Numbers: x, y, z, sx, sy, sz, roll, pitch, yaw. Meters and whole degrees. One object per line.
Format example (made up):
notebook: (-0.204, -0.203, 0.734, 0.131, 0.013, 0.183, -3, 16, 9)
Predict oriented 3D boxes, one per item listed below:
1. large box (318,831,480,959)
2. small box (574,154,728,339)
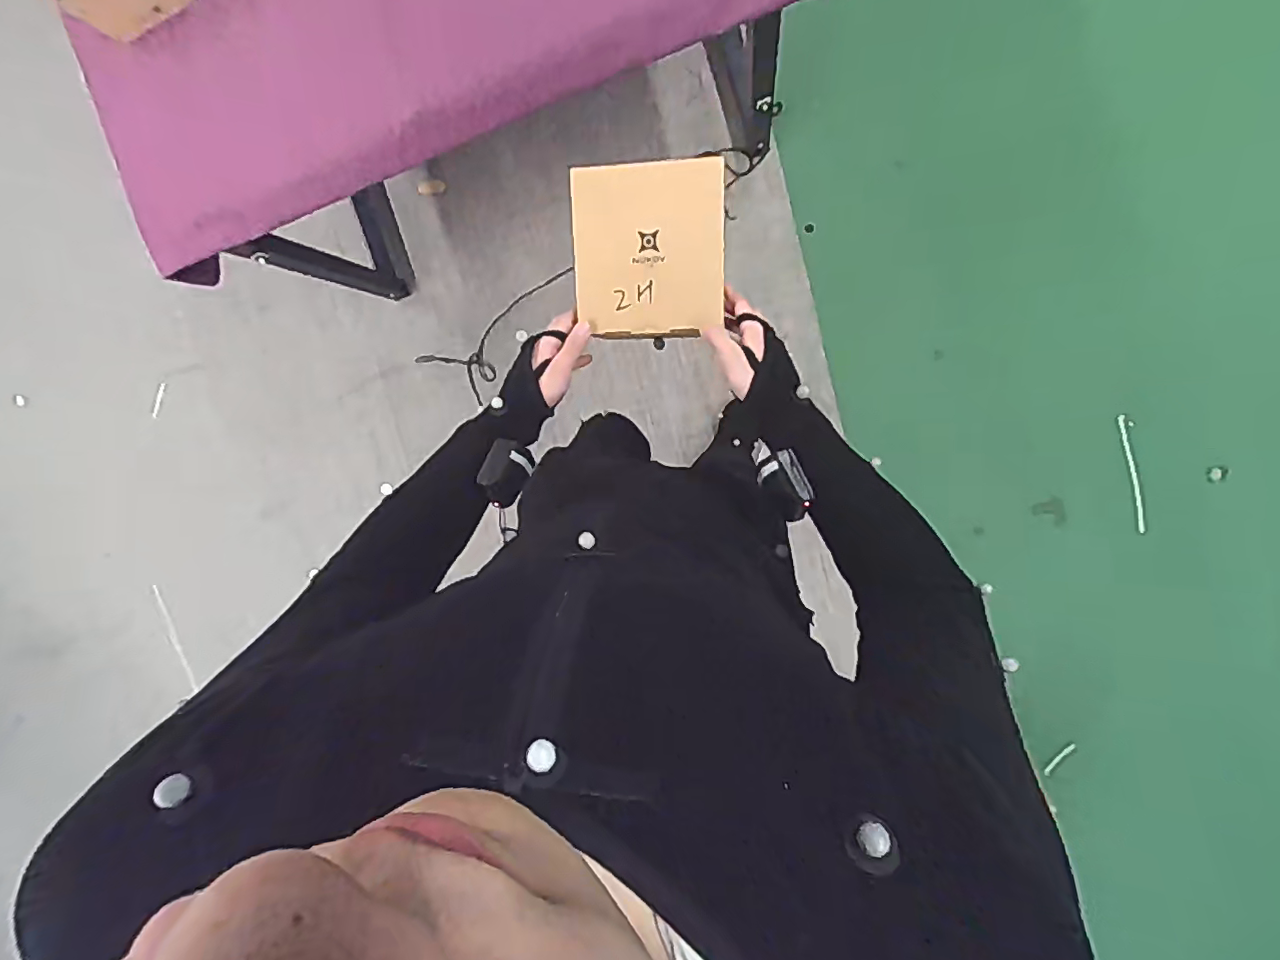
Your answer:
large box: (-0.808, 1.476, 1.835, 0.408, 0.320, 0.320, 9, 100, 8)
small box: (0.019, -0.268, 0.659, 0.168, 0.176, 0.179, 0, 102, 7)
